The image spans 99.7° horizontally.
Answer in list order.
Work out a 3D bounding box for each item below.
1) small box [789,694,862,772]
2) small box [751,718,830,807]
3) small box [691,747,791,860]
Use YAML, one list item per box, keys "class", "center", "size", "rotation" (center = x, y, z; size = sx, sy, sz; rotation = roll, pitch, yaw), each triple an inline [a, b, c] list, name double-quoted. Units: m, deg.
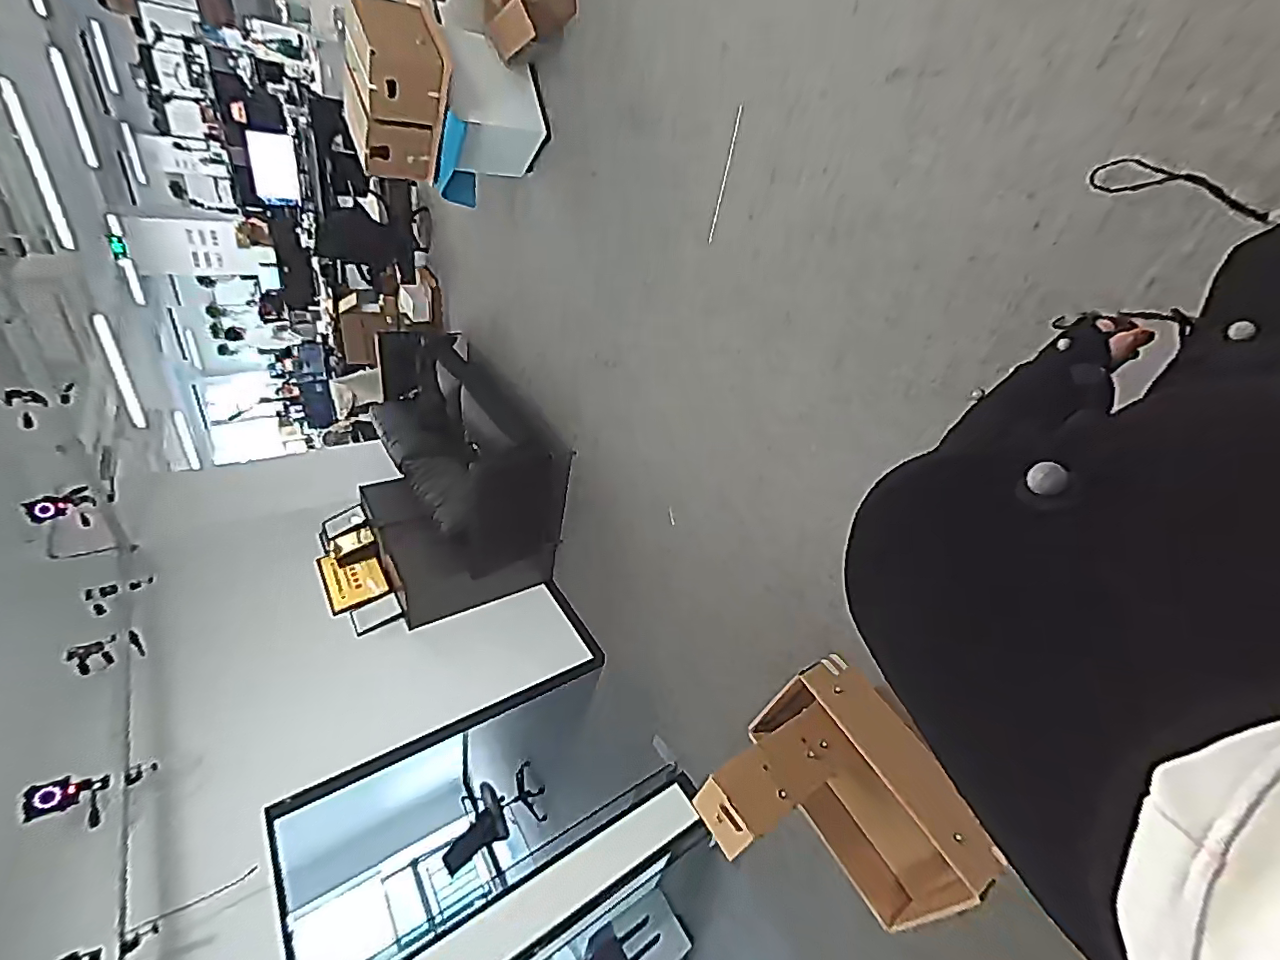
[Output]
- class: "small box"
  center: [0.524, 0.778, 1.609]
  size: [0.168, 0.176, 0.179]
  rotation: [48, 138, 33]
- class: "small box"
  center: [0.396, 0.808, 1.513]
  size: [0.168, 0.176, 0.179]
  rotation: [49, 137, 33]
- class: "small box"
  center: [0.267, 0.839, 1.417]
  size: [0.168, 0.176, 0.179]
  rotation: [48, 138, 33]
